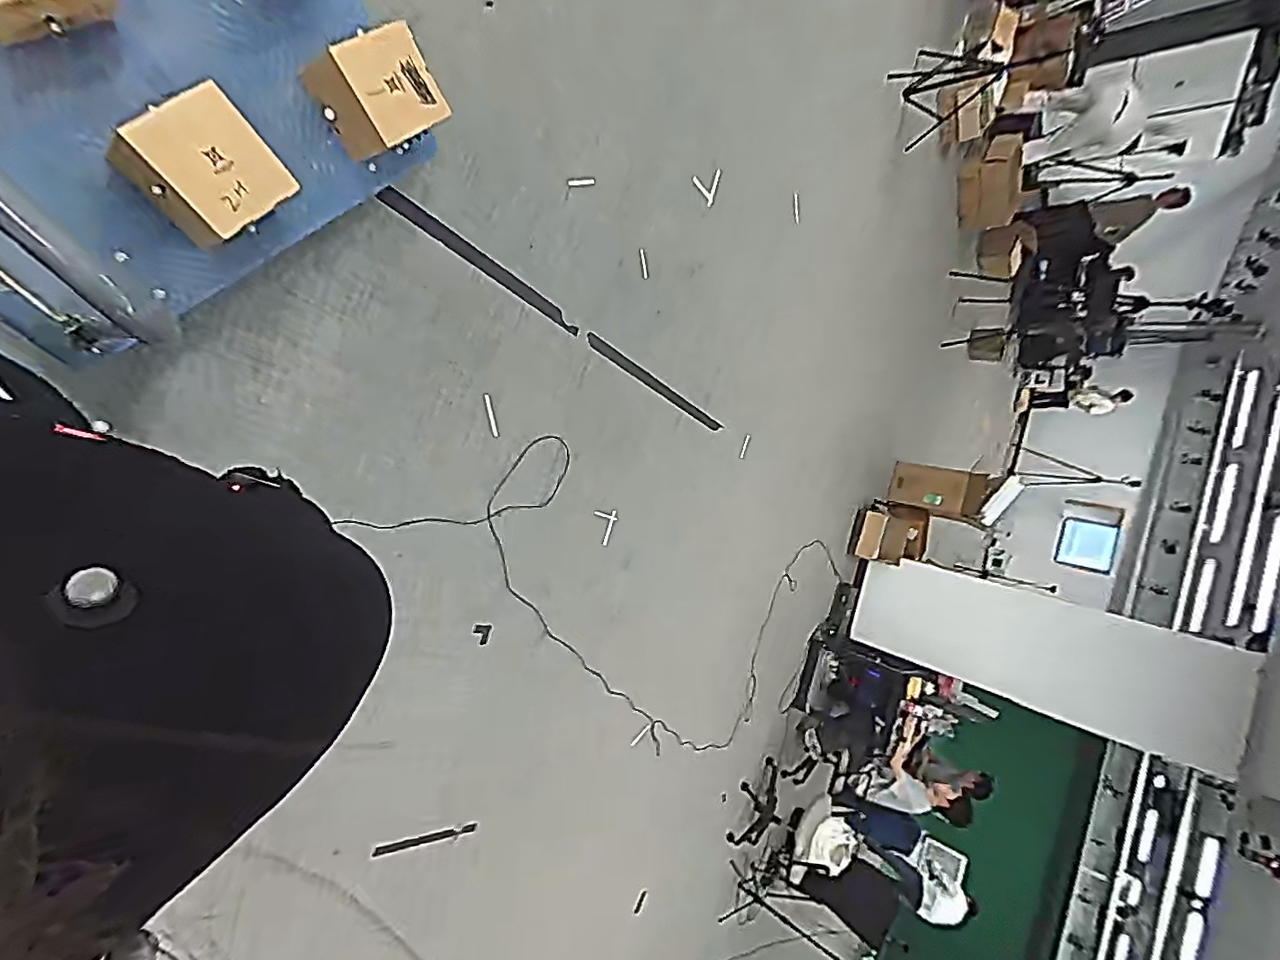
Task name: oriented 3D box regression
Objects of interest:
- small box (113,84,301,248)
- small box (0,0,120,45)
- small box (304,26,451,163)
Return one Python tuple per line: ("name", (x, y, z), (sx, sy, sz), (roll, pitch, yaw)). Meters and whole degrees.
("small box", (-0.736, -0.522, 0.920), (0.168, 0.176, 0.179), (-55, 136, -24))
("small box", (-0.855, -0.730, 0.723), (0.168, 0.176, 0.179), (-50, 136, -29))
("small box", (-0.530, -0.772, 1.094), (0.179, 0.176, 0.168), (-50, 134, -27))
